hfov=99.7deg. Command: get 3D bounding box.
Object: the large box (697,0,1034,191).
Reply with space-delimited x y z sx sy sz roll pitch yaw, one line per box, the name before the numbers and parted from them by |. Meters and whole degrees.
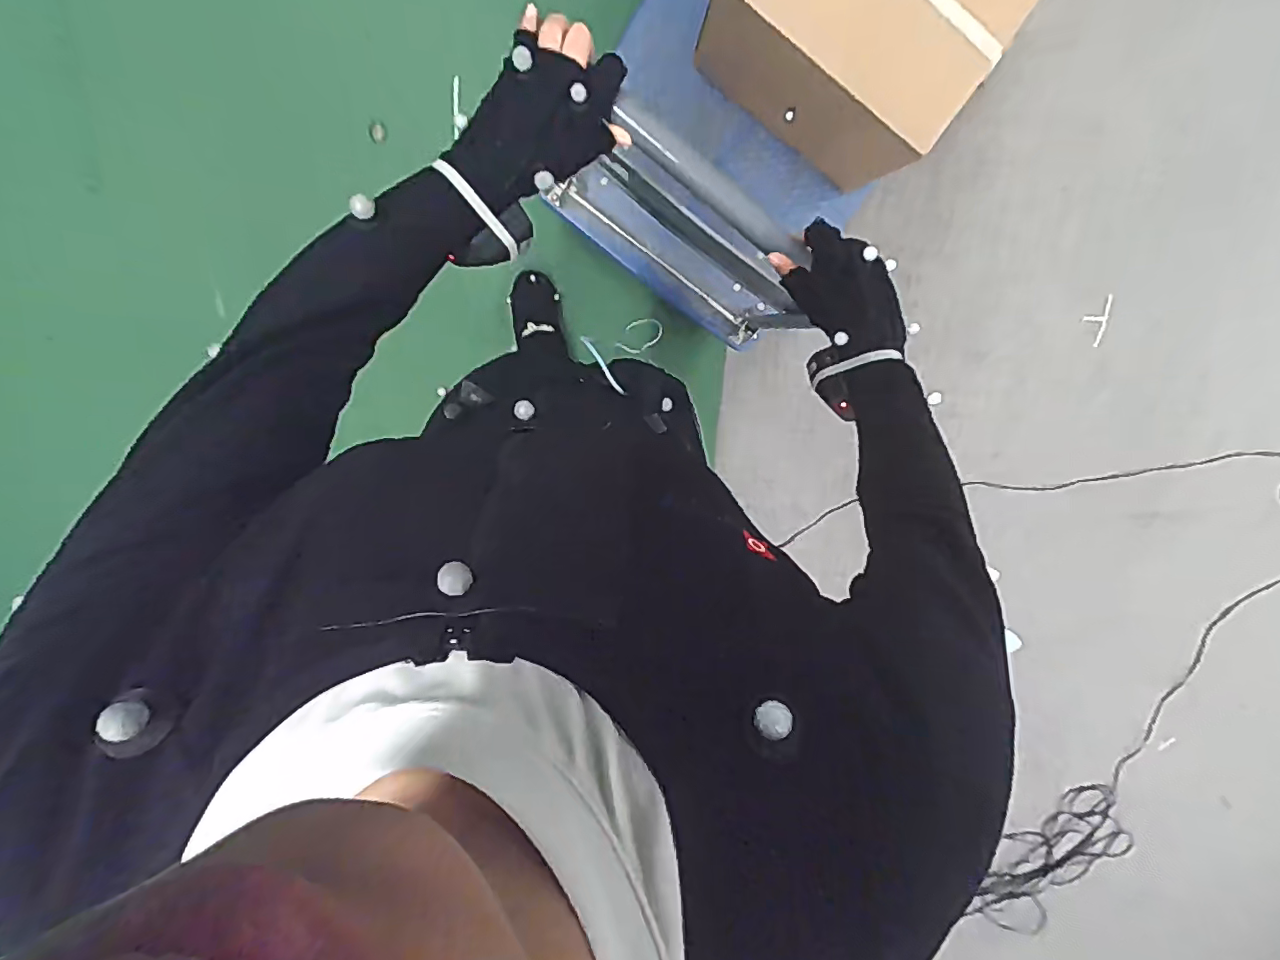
large box | 0.356 -0.770 0.914 0.408 0.320 0.320 32 104 -11
